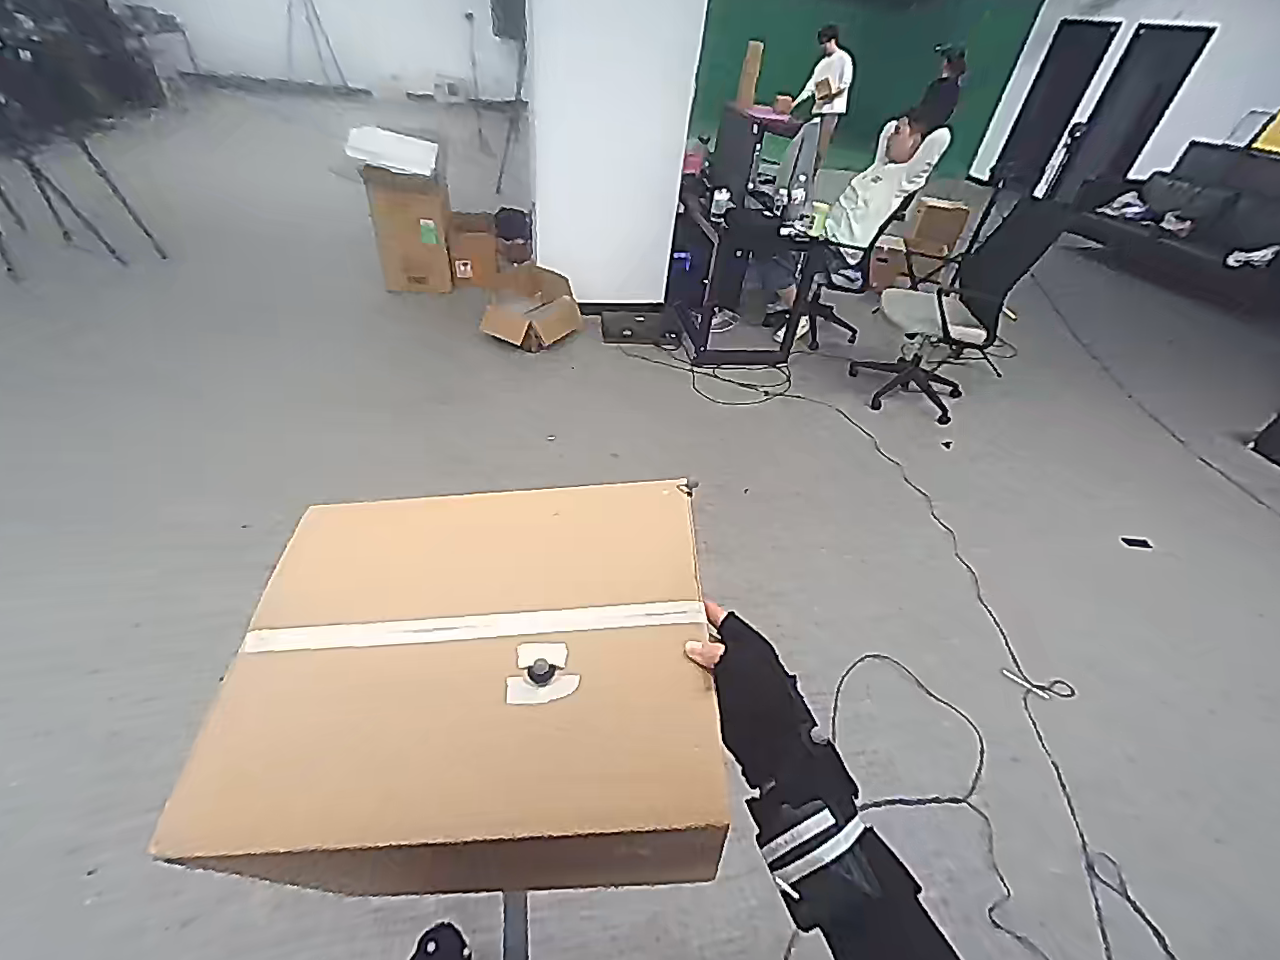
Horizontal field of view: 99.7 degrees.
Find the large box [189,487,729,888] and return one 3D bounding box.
[{"bbox_3d":[-0.133,0.233,0.600,0.408,0.320,0.320,-3,48,1],"label":"large box"}]
